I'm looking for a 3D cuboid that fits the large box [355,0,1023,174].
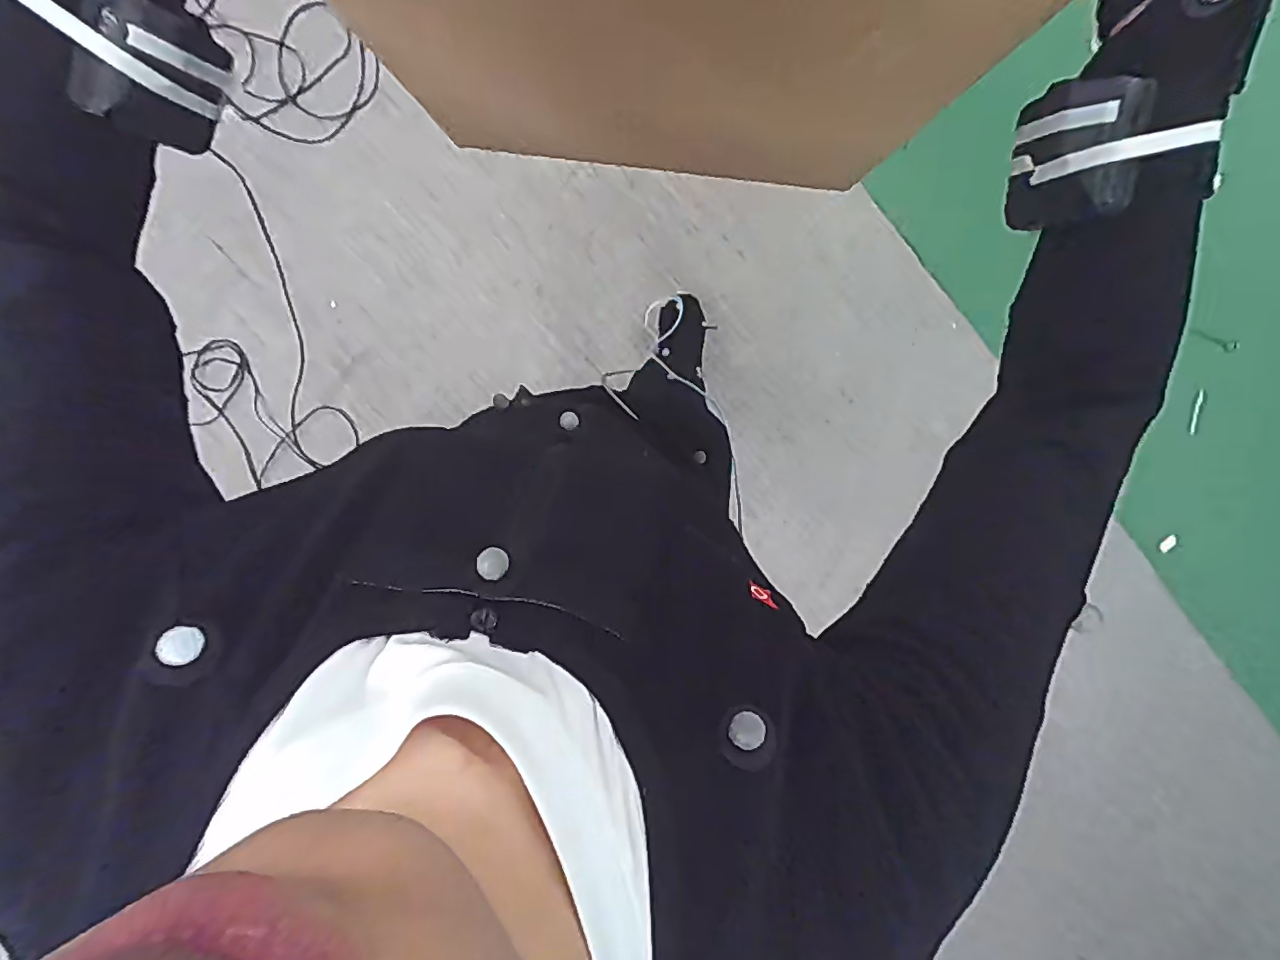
[{"bbox_3d":[0.026,-0.443,0.373,0.408,0.320,0.320,5,103,-1],"label":"large box"}]
